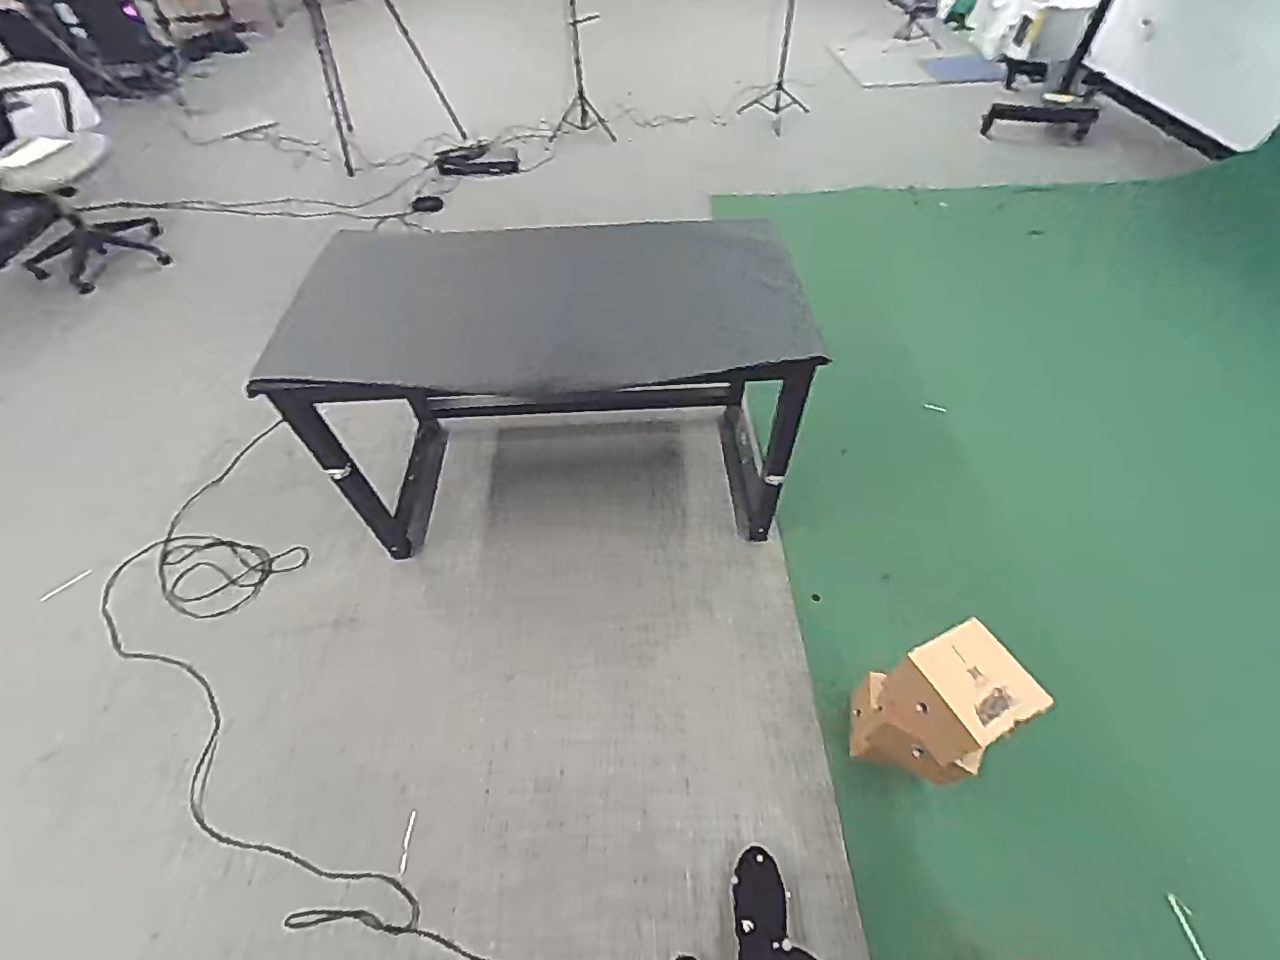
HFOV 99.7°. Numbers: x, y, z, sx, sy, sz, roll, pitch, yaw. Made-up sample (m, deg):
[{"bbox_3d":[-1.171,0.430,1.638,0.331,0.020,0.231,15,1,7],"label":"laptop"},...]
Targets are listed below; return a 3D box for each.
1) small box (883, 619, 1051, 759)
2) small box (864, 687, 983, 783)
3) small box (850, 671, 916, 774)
[{"bbox_3d":[0.592,0.396,1.006,0.168,0.176,0.179,-21,54,-13],"label":"small box"},{"bbox_3d":[0.597,0.503,1.131,0.179,0.176,0.168,29,60,21],"label":"small box"},{"bbox_3d":[0.607,0.577,1.279,0.179,0.176,0.168,11,54,10],"label":"small box"}]
